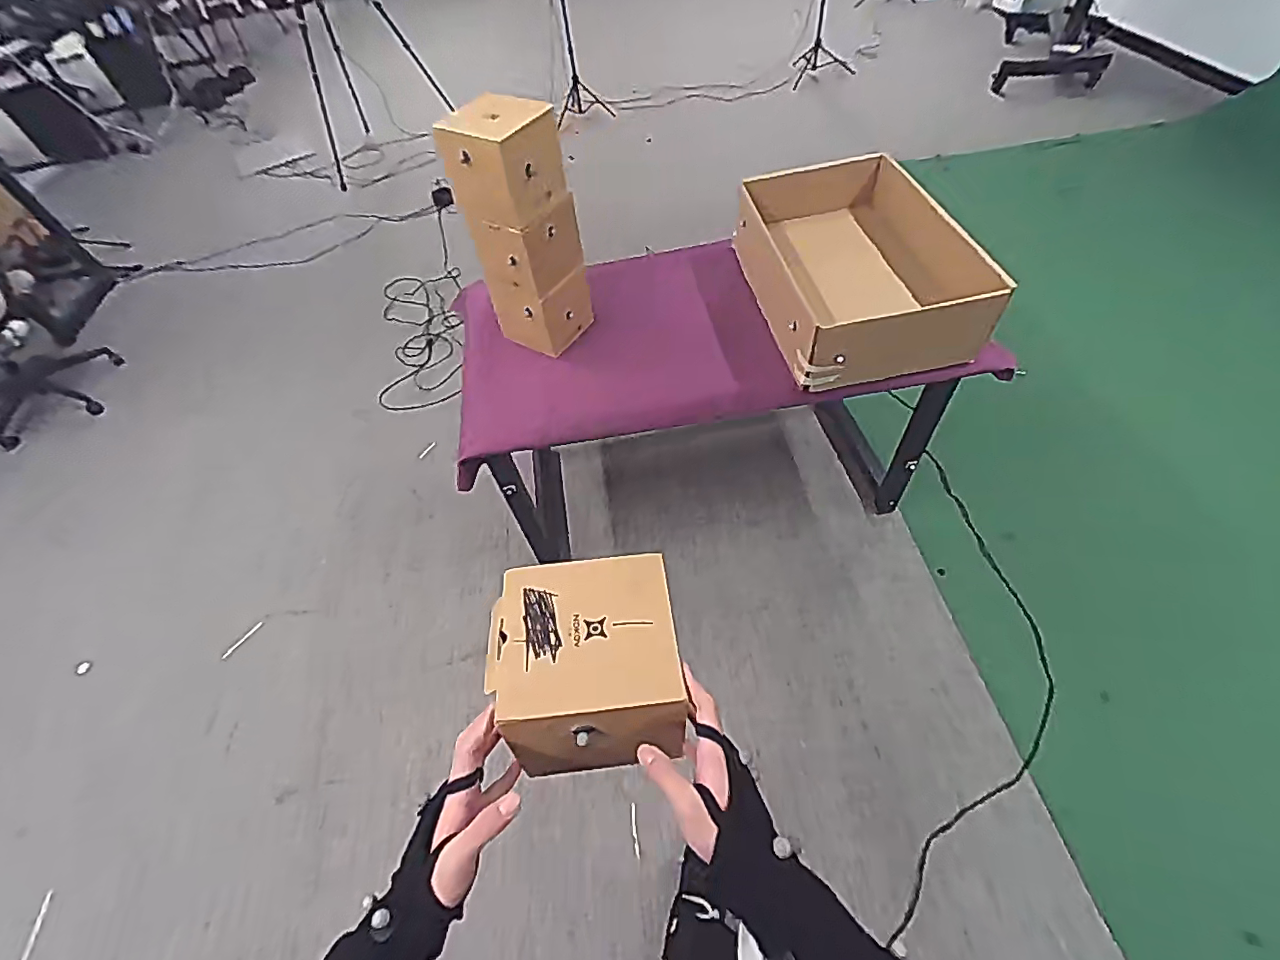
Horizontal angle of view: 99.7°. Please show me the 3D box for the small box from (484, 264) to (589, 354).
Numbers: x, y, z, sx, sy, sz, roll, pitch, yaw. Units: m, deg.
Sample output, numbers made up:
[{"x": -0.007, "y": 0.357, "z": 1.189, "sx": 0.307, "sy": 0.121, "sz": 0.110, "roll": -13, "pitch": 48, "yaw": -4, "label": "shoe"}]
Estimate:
[{"x": -0.245, "y": -0.437, "z": 1.334, "sx": 0.179, "sy": 0.176, "sz": 0.168, "roll": 25, "pitch": 60, "yaw": 22, "label": "small box"}]

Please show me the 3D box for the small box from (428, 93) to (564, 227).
[{"x": -0.273, "y": -0.631, "z": 1.075, "sx": 0.179, "sy": 0.176, "sz": 0.168, "roll": 24, "pitch": 61, "yaw": 21, "label": "small box"}]

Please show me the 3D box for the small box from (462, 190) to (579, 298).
[{"x": -0.255, "y": -0.536, "z": 1.205, "sx": 0.168, "sy": 0.176, "sz": 0.179, "roll": 26, "pitch": 61, "yaw": 21, "label": "small box"}]

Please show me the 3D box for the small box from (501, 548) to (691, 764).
[{"x": -0.044, "y": 0.197, "z": 0.597, "sx": 0.179, "sy": 0.176, "sz": 0.168, "roll": -5, "pitch": 47, "yaw": -4, "label": "small box"}]
